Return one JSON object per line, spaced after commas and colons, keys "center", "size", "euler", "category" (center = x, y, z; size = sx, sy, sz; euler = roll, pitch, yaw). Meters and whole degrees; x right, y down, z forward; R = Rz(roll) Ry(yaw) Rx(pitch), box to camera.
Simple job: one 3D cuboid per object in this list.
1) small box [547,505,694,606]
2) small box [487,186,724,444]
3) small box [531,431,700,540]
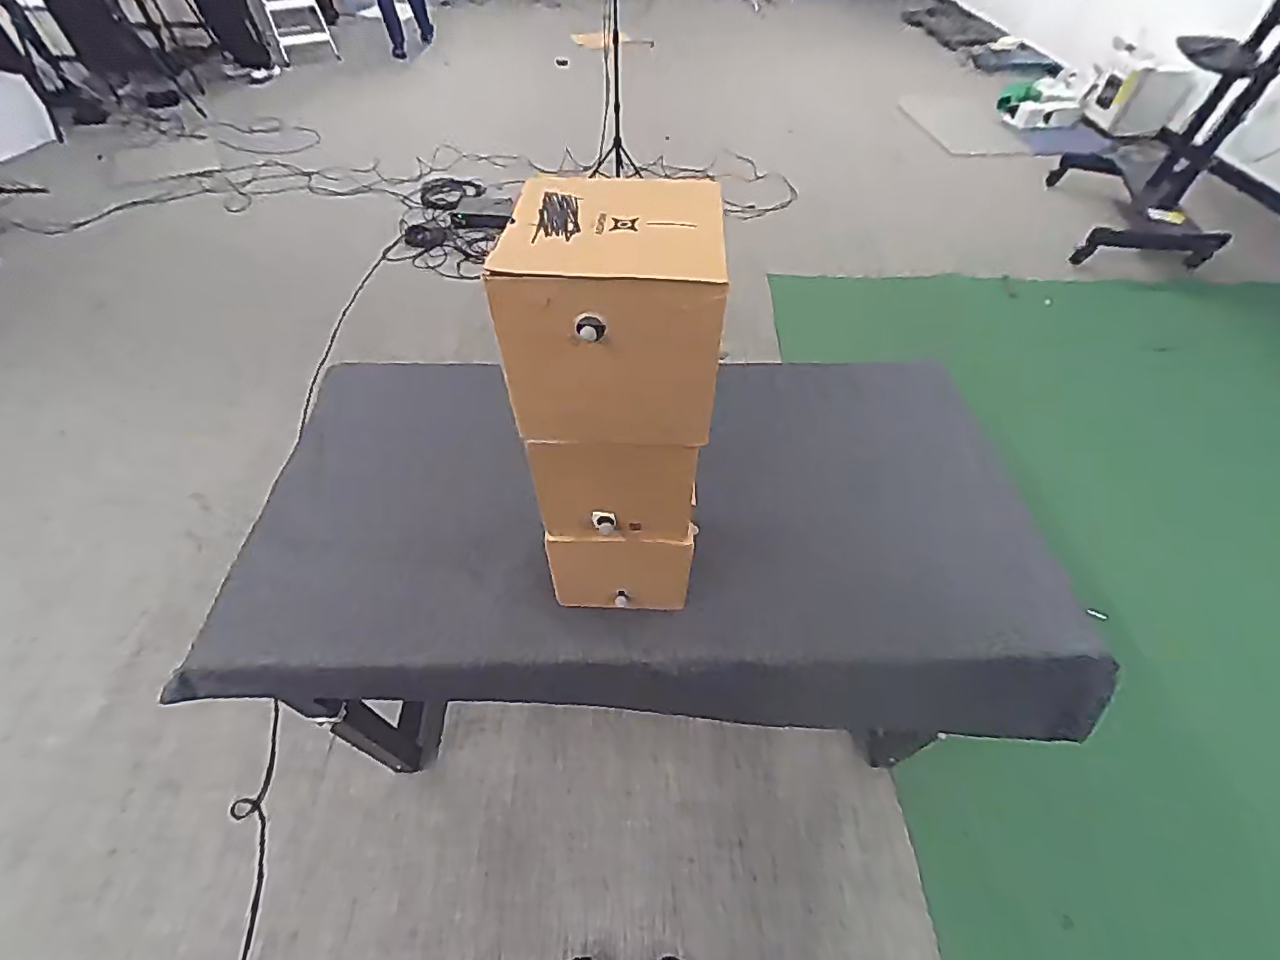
{"center": [-0.023, 0.062, 0.748], "size": [0.179, 0.176, 0.168], "euler": [2, 50, 0], "category": "small box"}
{"center": [-0.020, -0.148, 0.498], "size": [0.179, 0.176, 0.168], "euler": [3, 50, 2], "category": "small box"}
{"center": [-0.022, -0.049, 0.629], "size": [0.168, 0.176, 0.179], "euler": [0, 52, 1], "category": "small box"}
